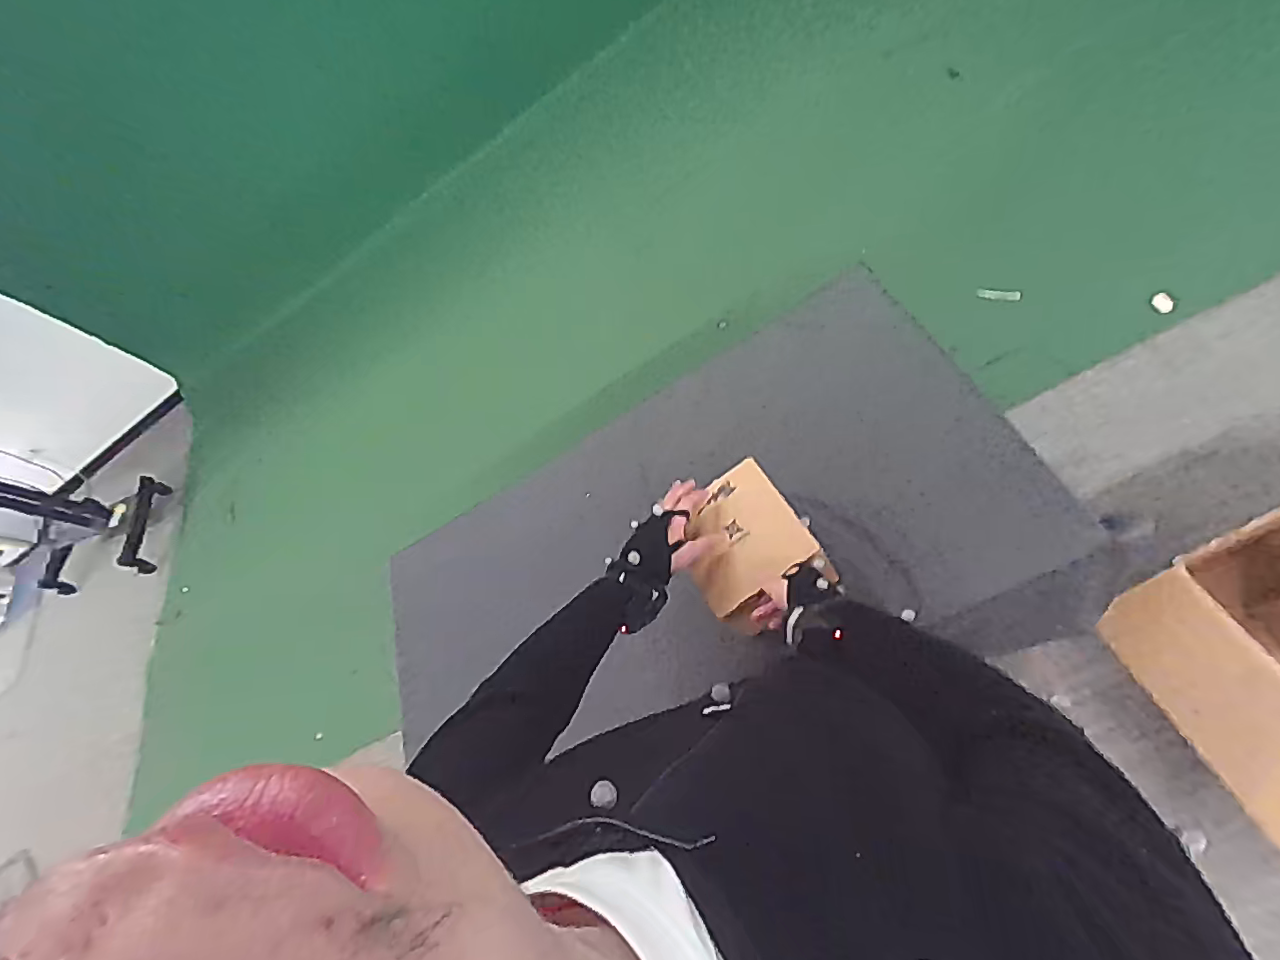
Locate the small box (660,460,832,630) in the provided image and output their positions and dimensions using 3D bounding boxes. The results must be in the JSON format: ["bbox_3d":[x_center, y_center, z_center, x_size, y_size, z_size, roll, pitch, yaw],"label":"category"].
[{"bbox_3d":[0.164,0.107,0.806,0.168,0.176,0.179,-36,56,8],"label":"small box"}]
